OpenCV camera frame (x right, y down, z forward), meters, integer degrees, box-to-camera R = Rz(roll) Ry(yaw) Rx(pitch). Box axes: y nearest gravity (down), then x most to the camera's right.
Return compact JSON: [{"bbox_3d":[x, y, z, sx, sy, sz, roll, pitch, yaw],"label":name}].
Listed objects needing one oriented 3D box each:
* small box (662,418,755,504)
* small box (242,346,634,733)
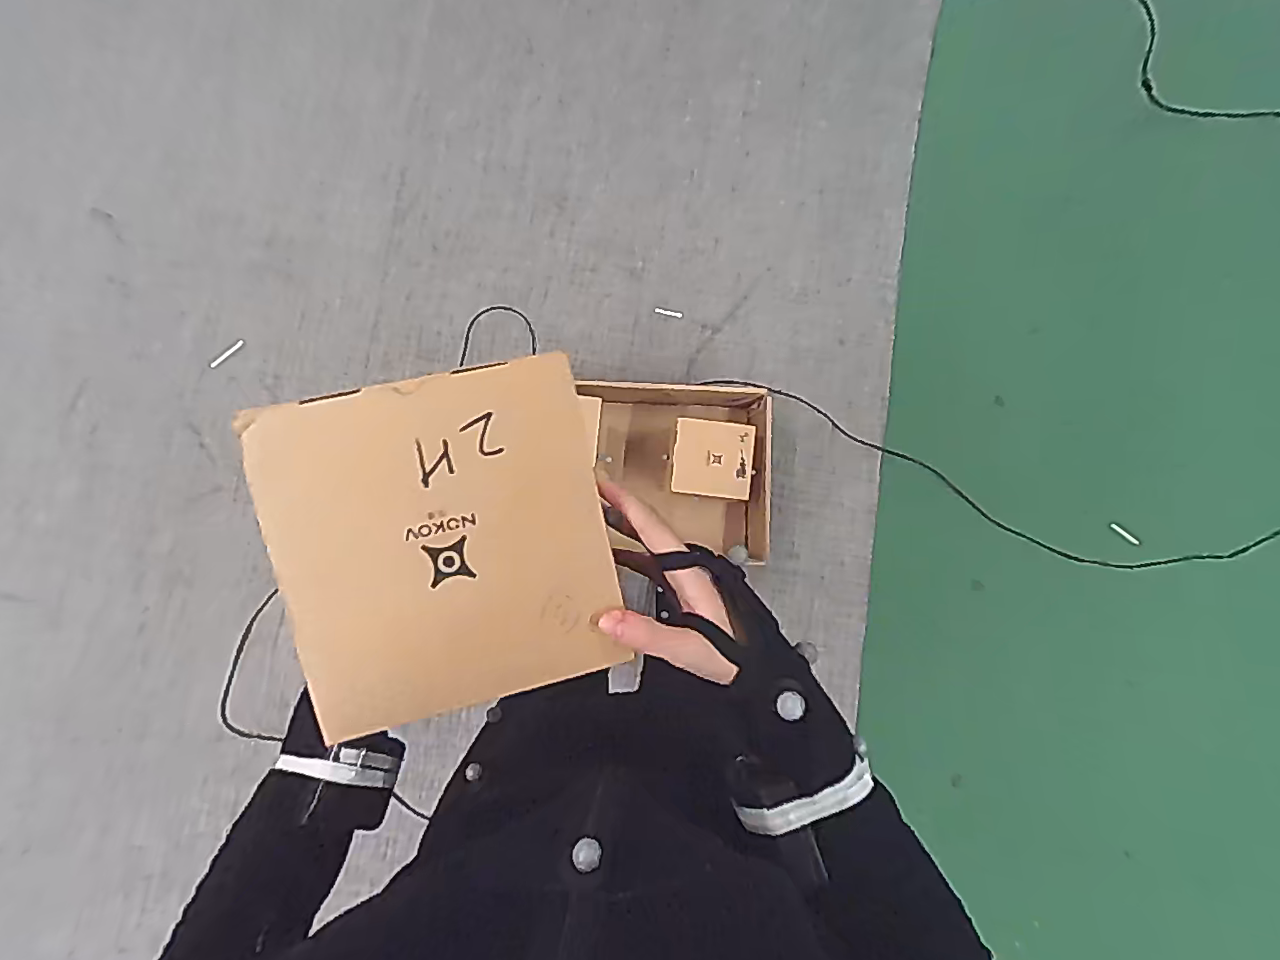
[{"bbox_3d":[0.150,-0.036,1.246,0.179,0.176,0.168,8,86,-3],"label":"small box"},{"bbox_3d":[-0.109,0.025,0.357,0.168,0.176,0.179,-13,95,-9],"label":"small box"}]
